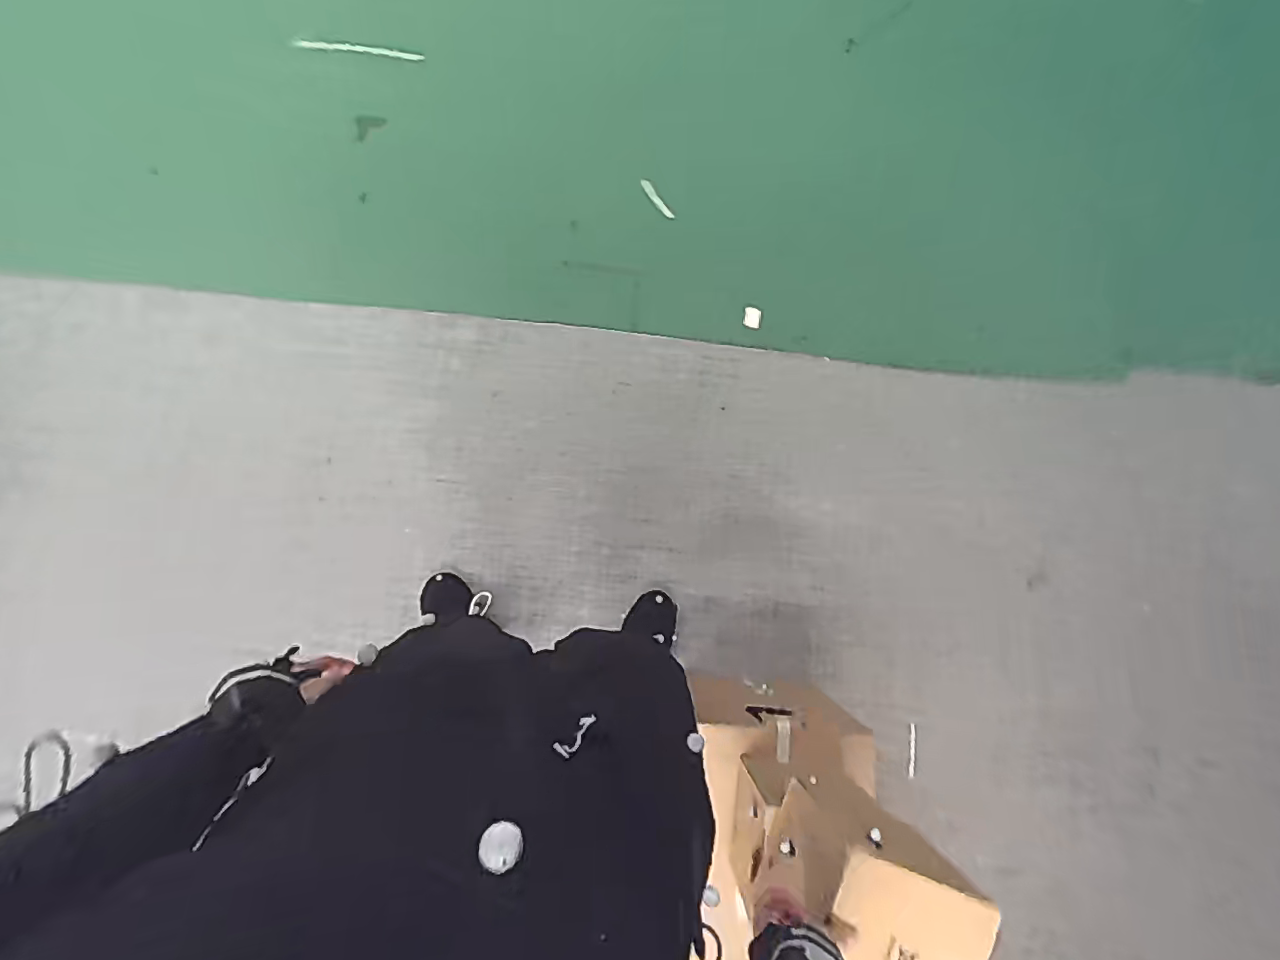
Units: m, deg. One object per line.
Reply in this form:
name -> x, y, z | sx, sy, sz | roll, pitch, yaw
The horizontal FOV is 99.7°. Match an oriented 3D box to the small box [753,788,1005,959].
small box -> 0.256, 0.491, 0.618 | 0.179, 0.176, 0.168 | 24, 83, -2

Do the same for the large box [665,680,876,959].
large box -> 0.219, 0.624, 1.015 | 0.320, 0.320, 0.408 | 5, 84, 0
